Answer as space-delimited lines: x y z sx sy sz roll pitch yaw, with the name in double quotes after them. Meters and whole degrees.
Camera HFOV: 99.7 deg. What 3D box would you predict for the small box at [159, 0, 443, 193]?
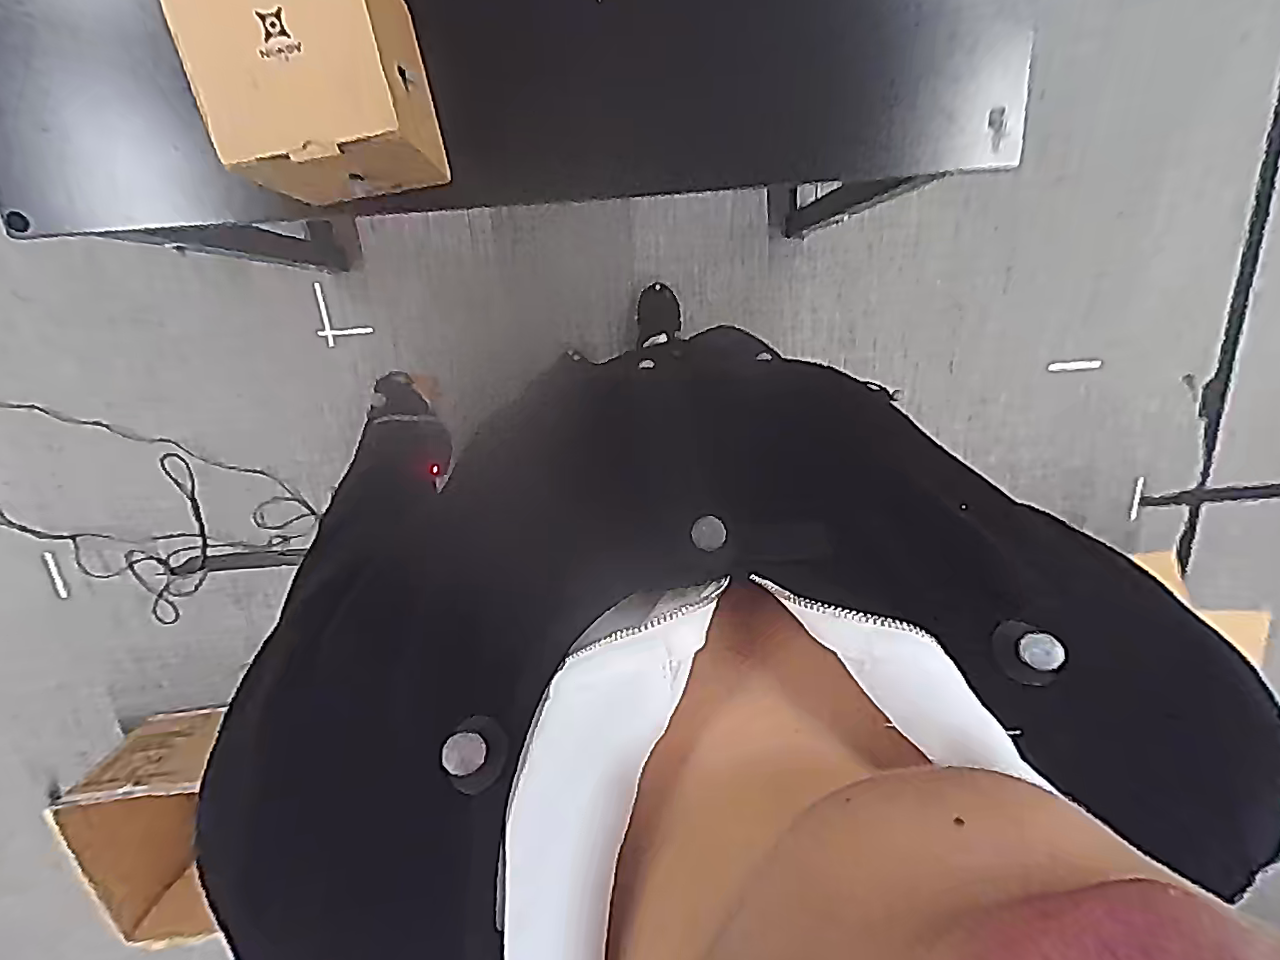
-0.315 -0.400 0.534 0.168 0.176 0.179 -11 107 0 "small box"
